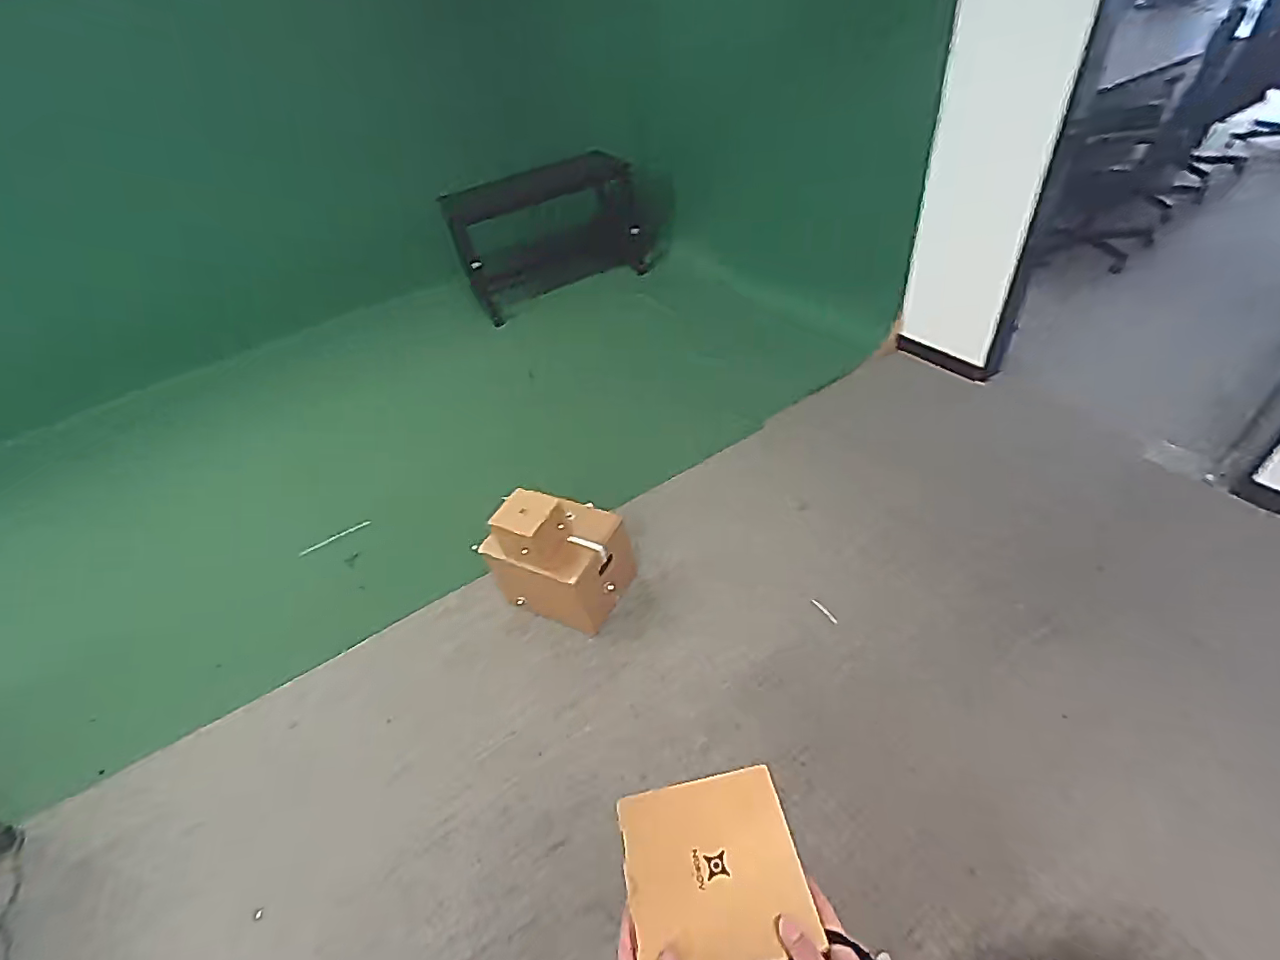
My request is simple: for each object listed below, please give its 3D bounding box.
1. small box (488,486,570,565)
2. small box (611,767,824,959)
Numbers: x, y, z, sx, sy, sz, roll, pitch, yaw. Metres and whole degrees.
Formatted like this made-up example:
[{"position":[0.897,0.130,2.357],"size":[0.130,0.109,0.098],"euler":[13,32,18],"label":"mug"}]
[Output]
[{"position":[-0.348,0.148,1.738],"size":[0.179,0.176,0.168],"euler":[14,49,26],"label":"small box"},{"position":[0.076,0.447,0.587],"size":[0.179,0.176,0.168],"euler":[-14,40,-3],"label":"small box"}]
